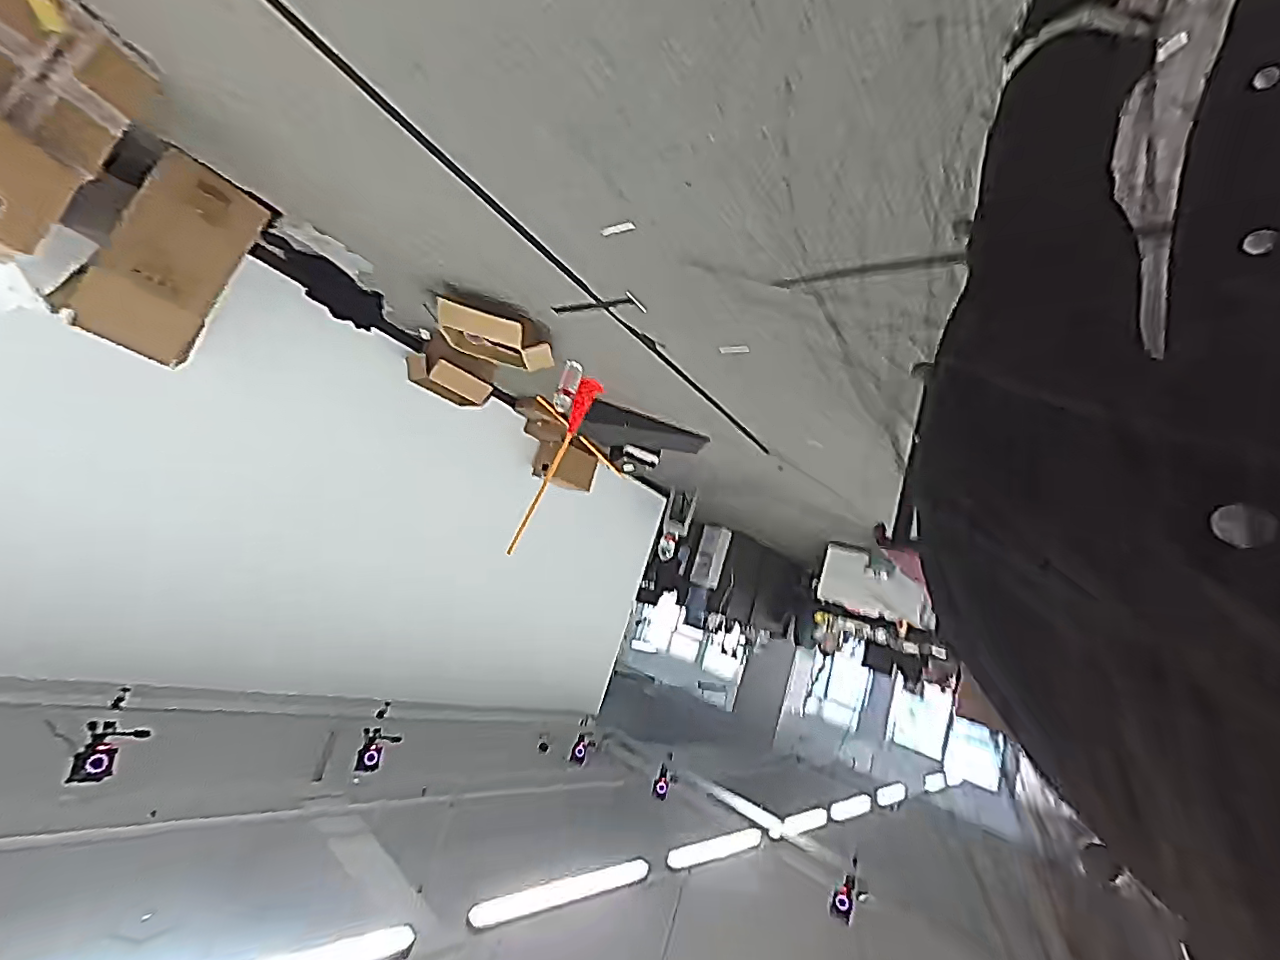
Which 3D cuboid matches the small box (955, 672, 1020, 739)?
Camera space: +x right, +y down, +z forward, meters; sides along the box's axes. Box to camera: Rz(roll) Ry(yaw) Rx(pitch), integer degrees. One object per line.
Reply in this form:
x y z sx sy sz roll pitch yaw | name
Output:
1.197 0.772 1.868 0.168 0.176 0.179 12 169 34 | small box
